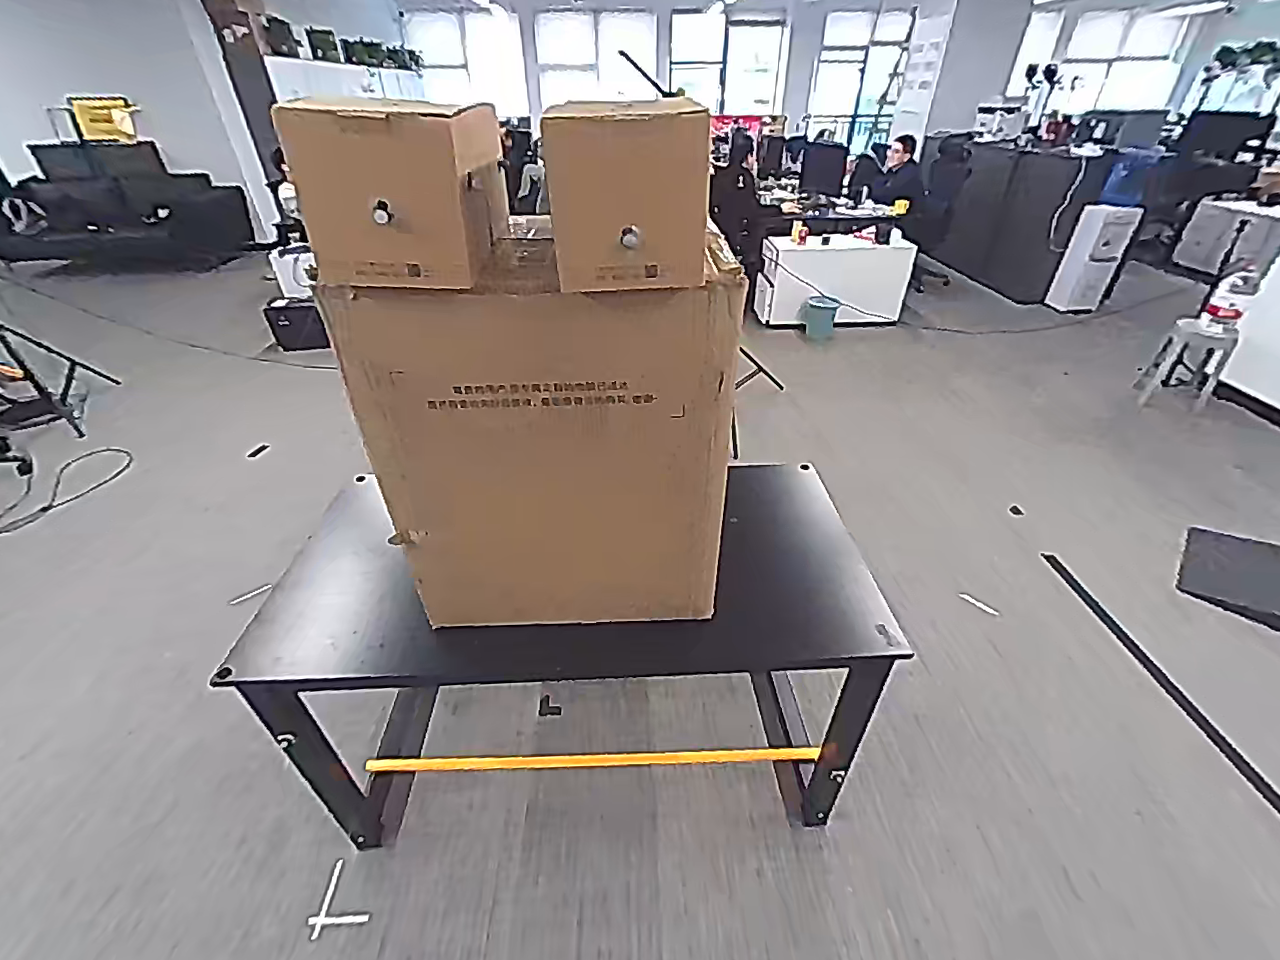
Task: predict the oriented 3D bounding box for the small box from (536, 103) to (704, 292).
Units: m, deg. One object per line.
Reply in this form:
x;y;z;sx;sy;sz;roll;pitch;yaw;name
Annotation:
-0.021;-0.332;0.634;0.168;0.176;0.179;-4;39;-1;small box

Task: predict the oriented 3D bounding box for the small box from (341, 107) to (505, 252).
-0.298;-0.440;0.788;0.168;0.176;0.179;-3;36;-3;small box
